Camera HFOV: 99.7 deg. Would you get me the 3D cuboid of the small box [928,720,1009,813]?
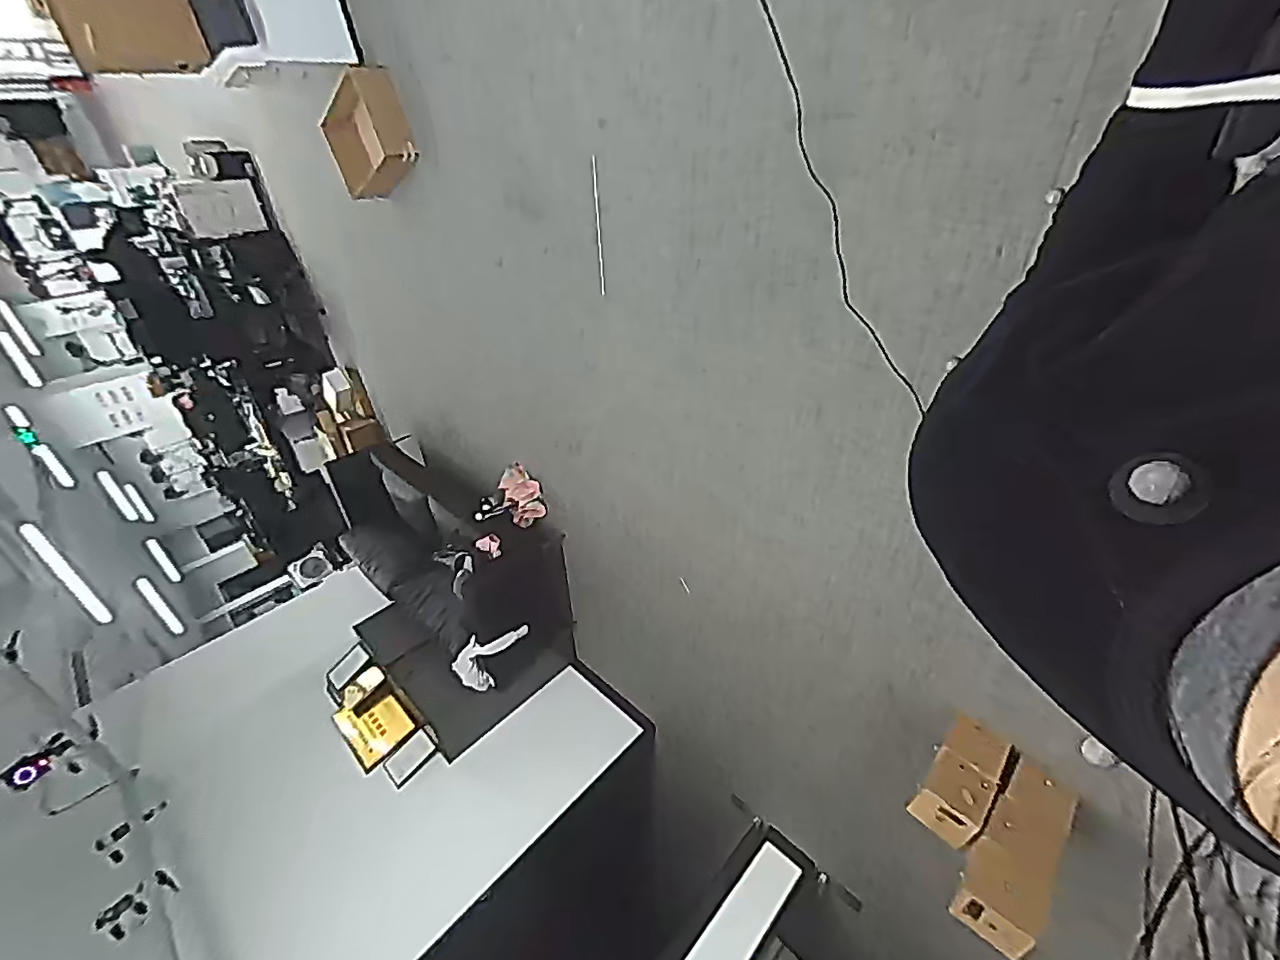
[{"bbox_3d":[1.097,0.950,1.802,0.168,0.176,0.179,28,133,36],"label":"small box"}]
